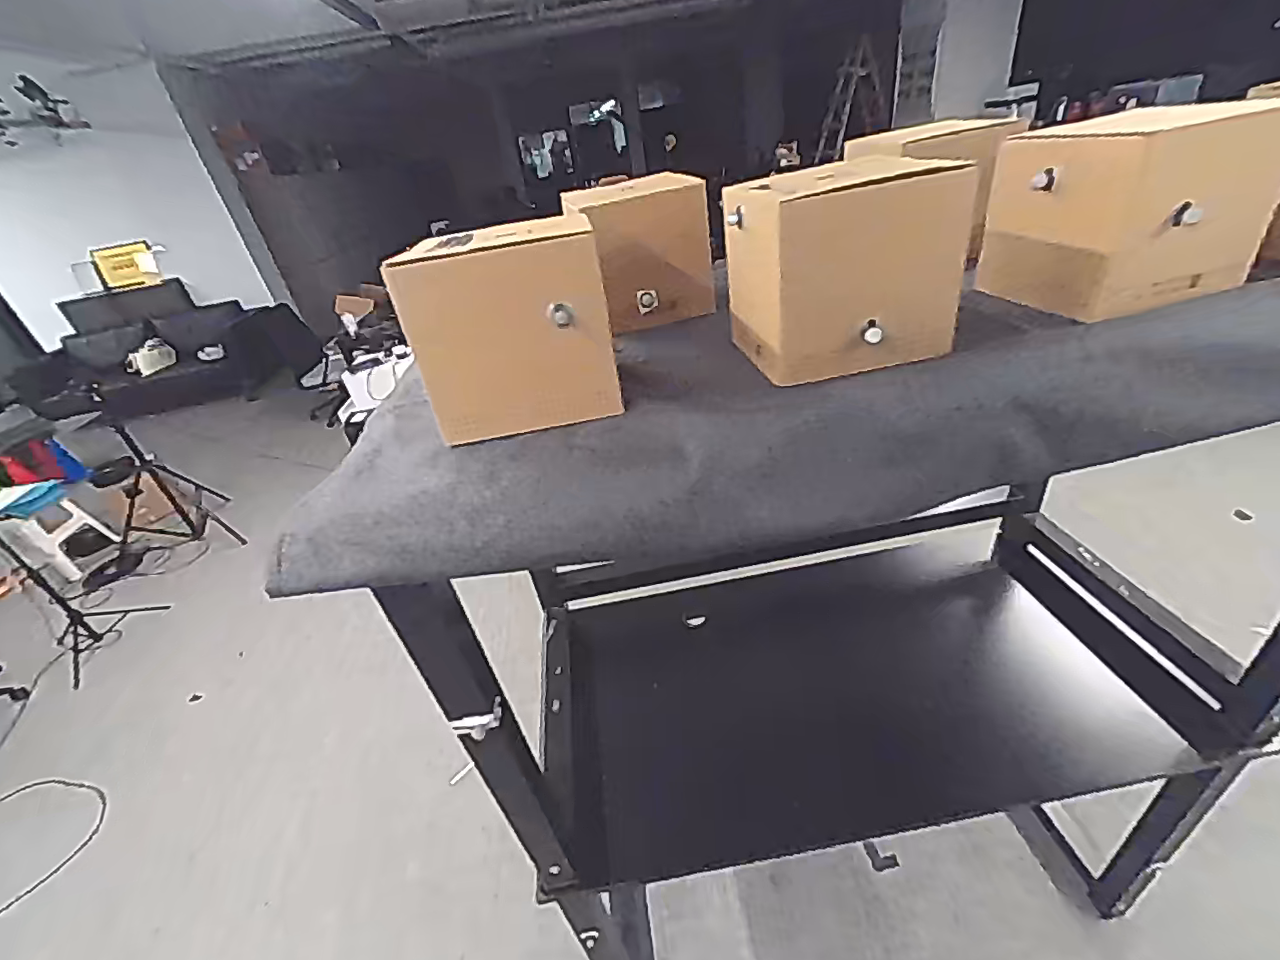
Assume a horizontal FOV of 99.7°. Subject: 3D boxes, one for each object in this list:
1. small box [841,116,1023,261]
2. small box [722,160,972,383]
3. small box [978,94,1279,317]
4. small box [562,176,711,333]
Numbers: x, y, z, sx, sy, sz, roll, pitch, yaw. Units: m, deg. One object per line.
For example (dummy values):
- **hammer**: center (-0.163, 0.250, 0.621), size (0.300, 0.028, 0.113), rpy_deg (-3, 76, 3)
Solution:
- **small box**: center (0.415, -0.421, 0.802), size (0.179, 0.176, 0.168), rpy_deg (-11, 33, -1)
- **small box**: center (0.190, -0.215, 0.551), size (0.179, 0.176, 0.168), rpy_deg (-11, 32, -3)
- **small box**: center (0.493, -0.279, 0.563), size (0.168, 0.176, 0.179), rpy_deg (-13, 32, -3)
- **small box**: center (-0.006, -0.324, 0.774), size (0.168, 0.176, 0.179), rpy_deg (-16, 33, -6)
